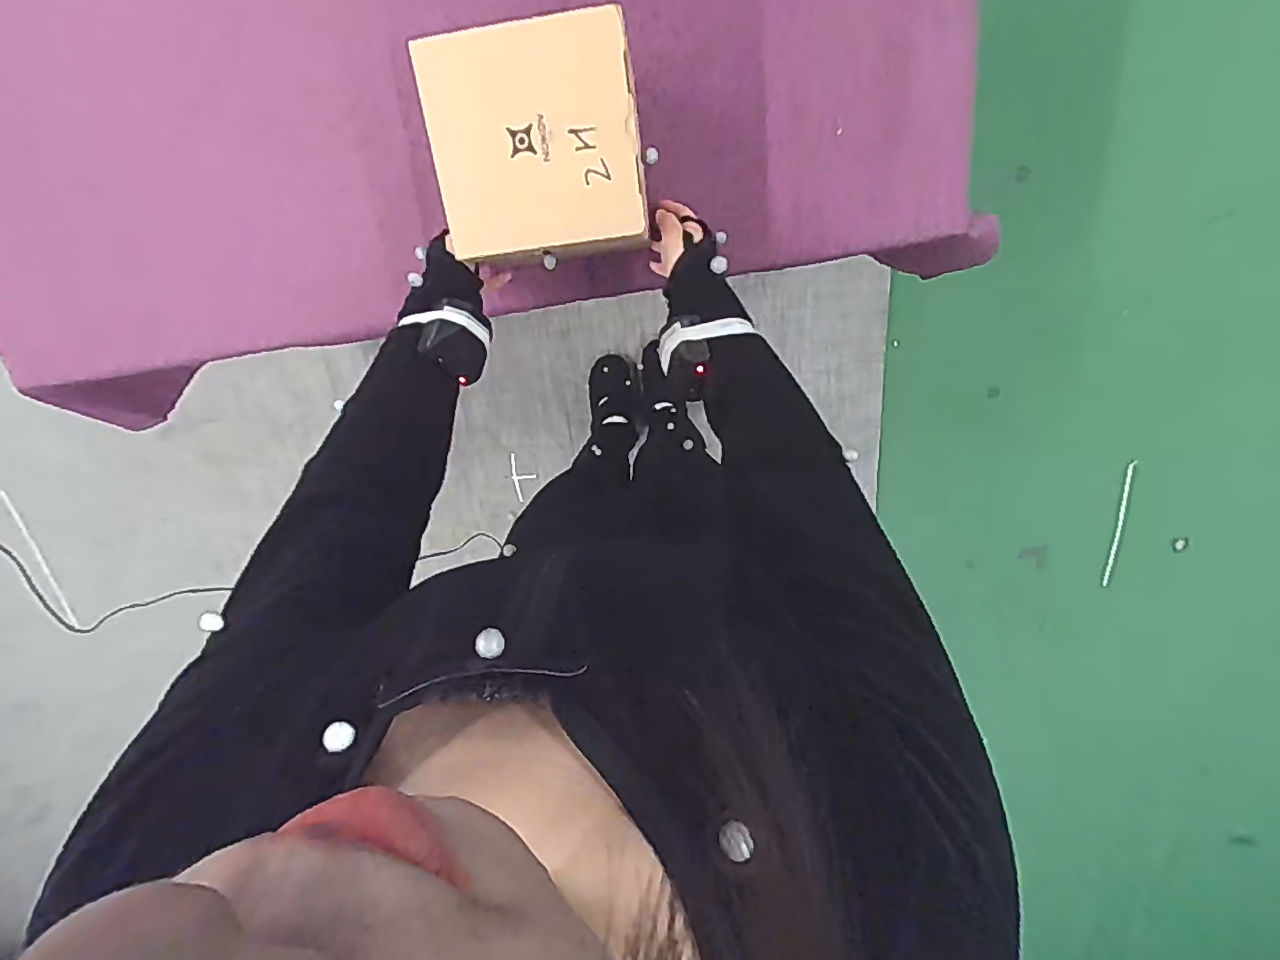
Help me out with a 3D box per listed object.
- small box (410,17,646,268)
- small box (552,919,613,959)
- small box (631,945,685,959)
[{"bbox_3d":[-0.090,-0.306,0.531,0.179,0.176,0.168,-5,110,4],"label":"small box"},{"bbox_3d":[-0.167,1.434,1.582,0.168,0.176,0.179,1,111,2],"label":"small box"},{"bbox_3d":[0.054,1.533,1.613,0.168,0.176,0.179,-1,112,3],"label":"small box"}]
